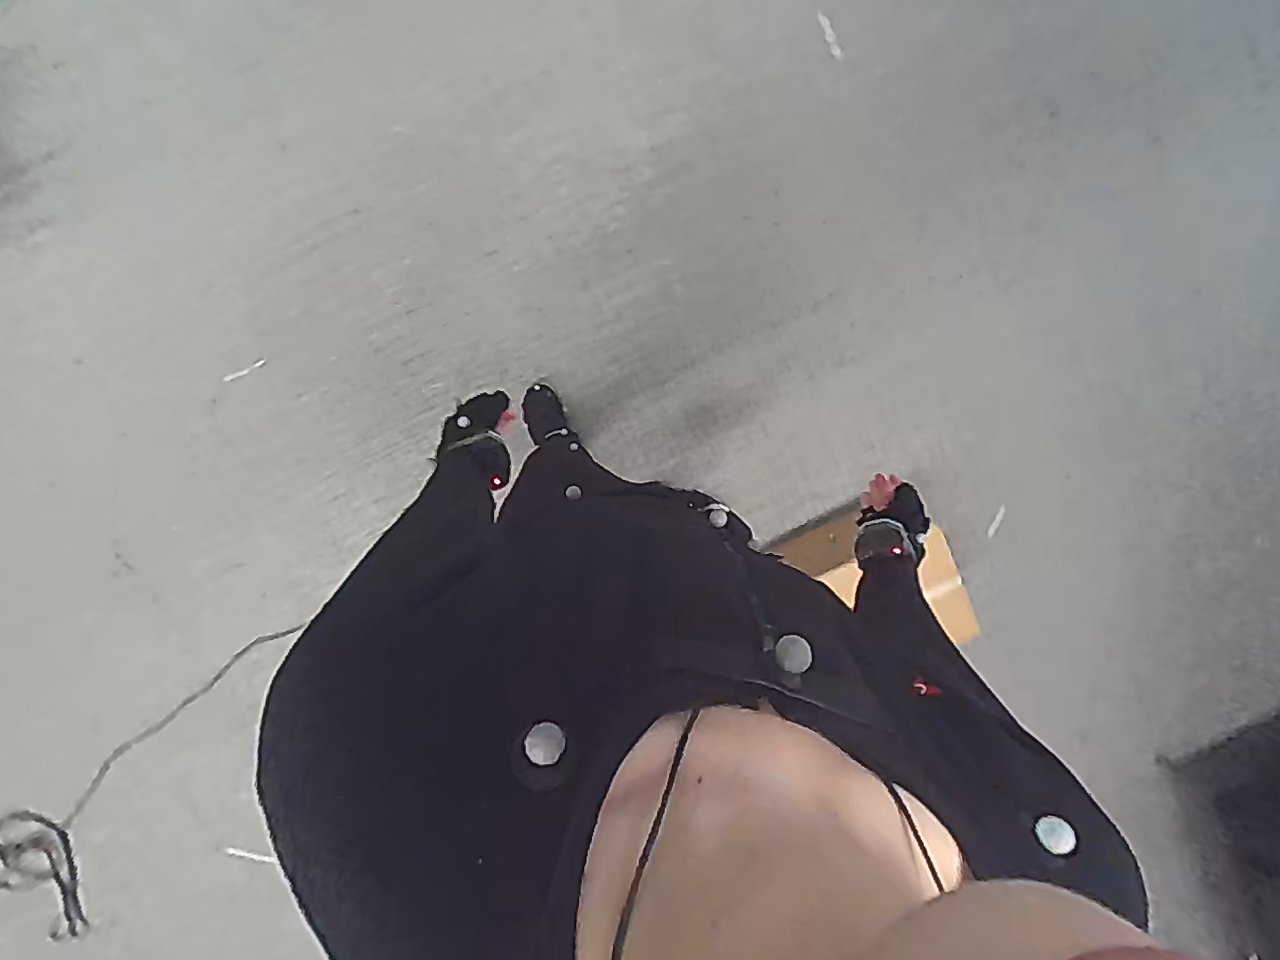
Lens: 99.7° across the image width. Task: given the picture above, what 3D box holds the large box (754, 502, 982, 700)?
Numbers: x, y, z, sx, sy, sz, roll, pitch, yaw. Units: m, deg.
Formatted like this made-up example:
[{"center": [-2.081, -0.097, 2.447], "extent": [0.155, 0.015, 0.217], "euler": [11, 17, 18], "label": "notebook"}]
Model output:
[{"center": [0.576, 0.295, 1.428], "extent": [0.408, 0.320, 0.320], "euler": [-25, 99, -1], "label": "large box"}]
